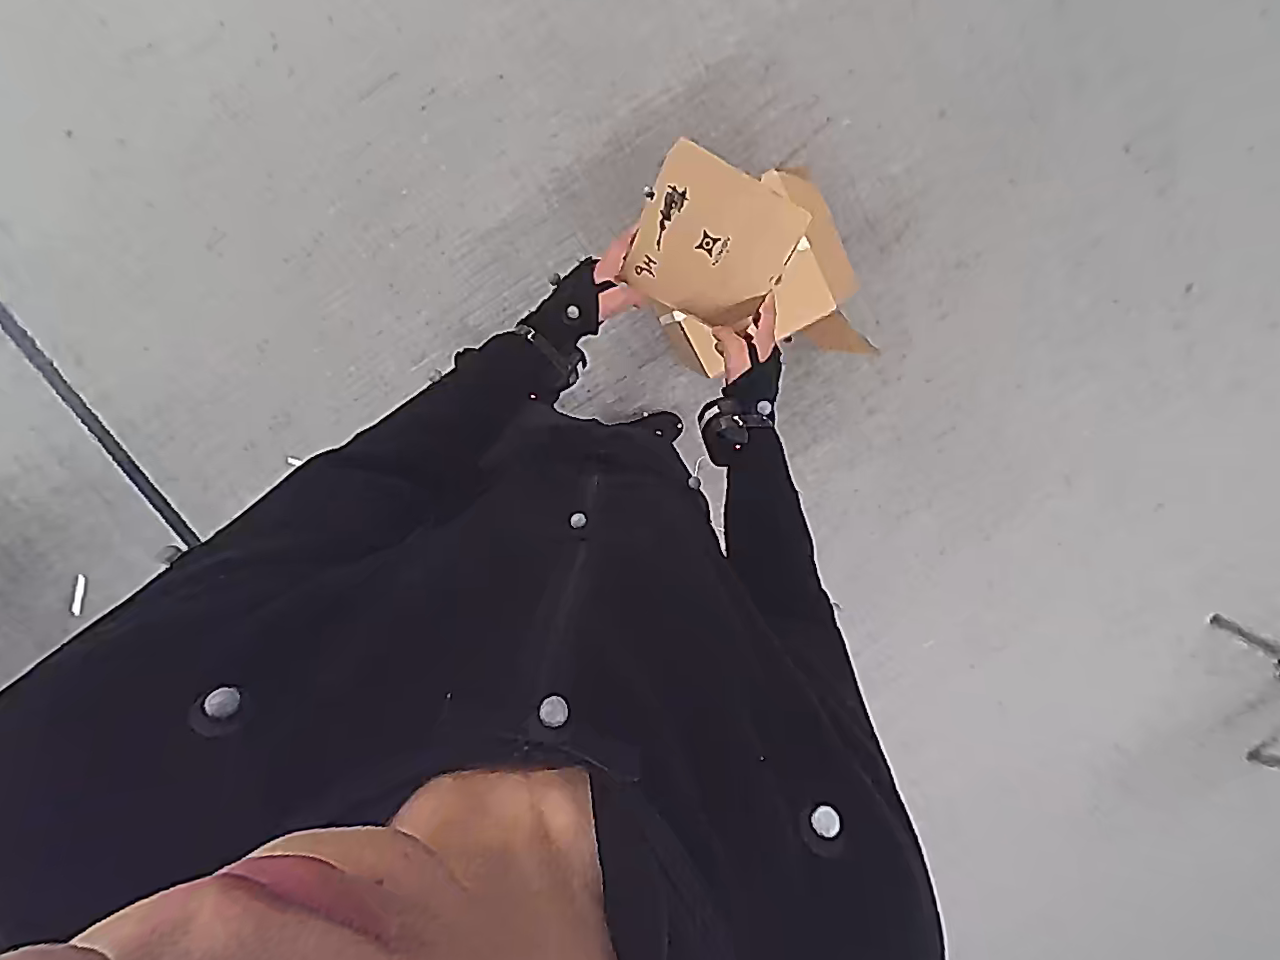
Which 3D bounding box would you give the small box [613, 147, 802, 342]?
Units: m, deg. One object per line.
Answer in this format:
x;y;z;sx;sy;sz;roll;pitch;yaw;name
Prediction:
0.078;-0.314;0.717;0.179;0.176;0.168;23;117;-13;small box
